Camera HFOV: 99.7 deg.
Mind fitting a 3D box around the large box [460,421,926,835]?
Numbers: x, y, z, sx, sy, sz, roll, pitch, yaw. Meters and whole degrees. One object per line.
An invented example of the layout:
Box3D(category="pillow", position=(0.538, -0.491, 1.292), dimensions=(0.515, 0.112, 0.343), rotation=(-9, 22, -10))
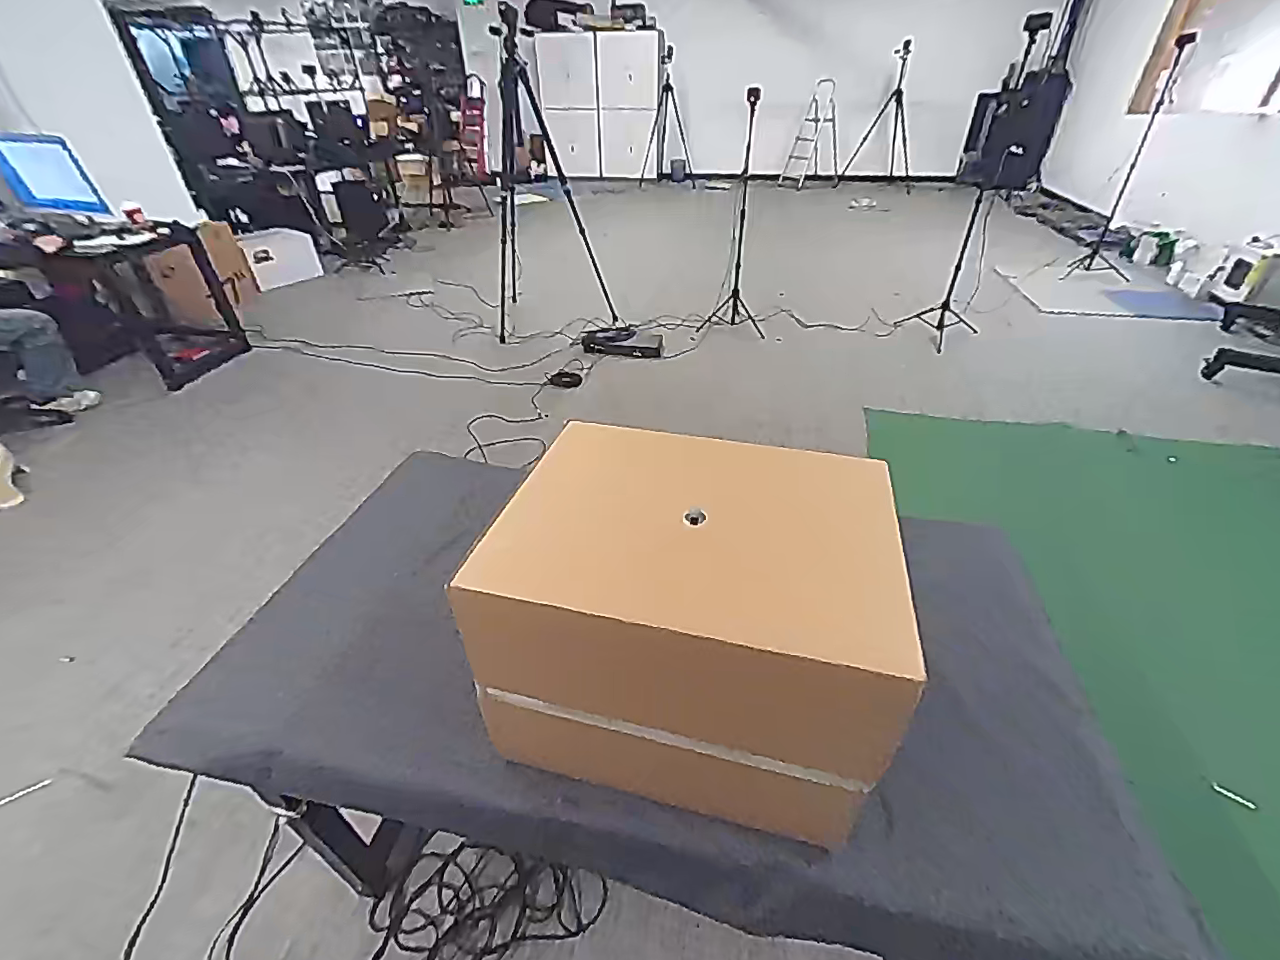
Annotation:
Box3D(category="large box", position=(0.062, 0.159, 0.651), dimensions=(0.408, 0.320, 0.320), rotation=(8, 36, 11))
